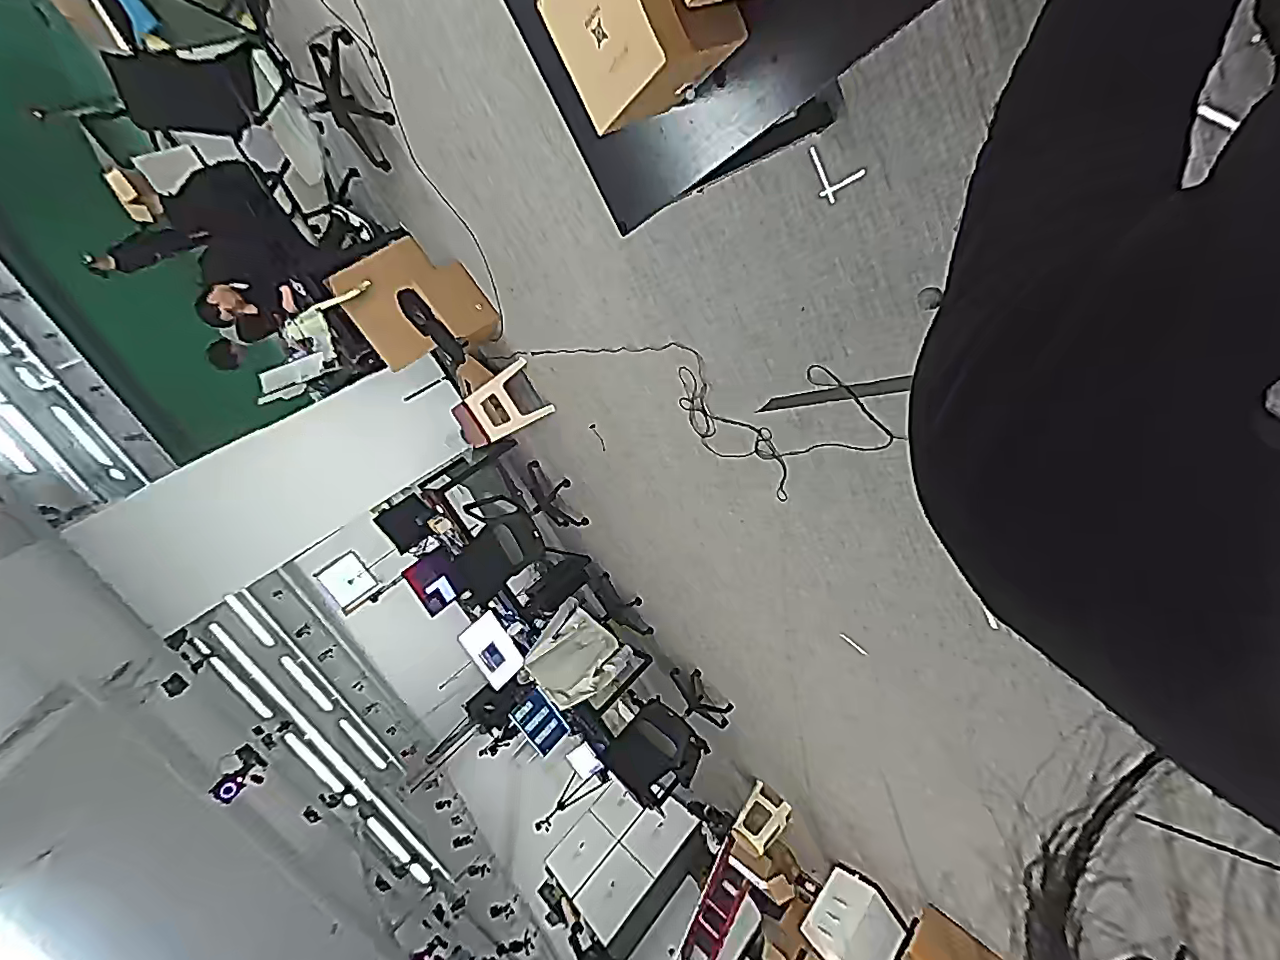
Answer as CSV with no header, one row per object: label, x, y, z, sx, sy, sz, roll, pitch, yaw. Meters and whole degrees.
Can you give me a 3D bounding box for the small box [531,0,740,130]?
small box,-0.004,-0.607,0.707,0.168,0.176,0.179,-1,124,58
